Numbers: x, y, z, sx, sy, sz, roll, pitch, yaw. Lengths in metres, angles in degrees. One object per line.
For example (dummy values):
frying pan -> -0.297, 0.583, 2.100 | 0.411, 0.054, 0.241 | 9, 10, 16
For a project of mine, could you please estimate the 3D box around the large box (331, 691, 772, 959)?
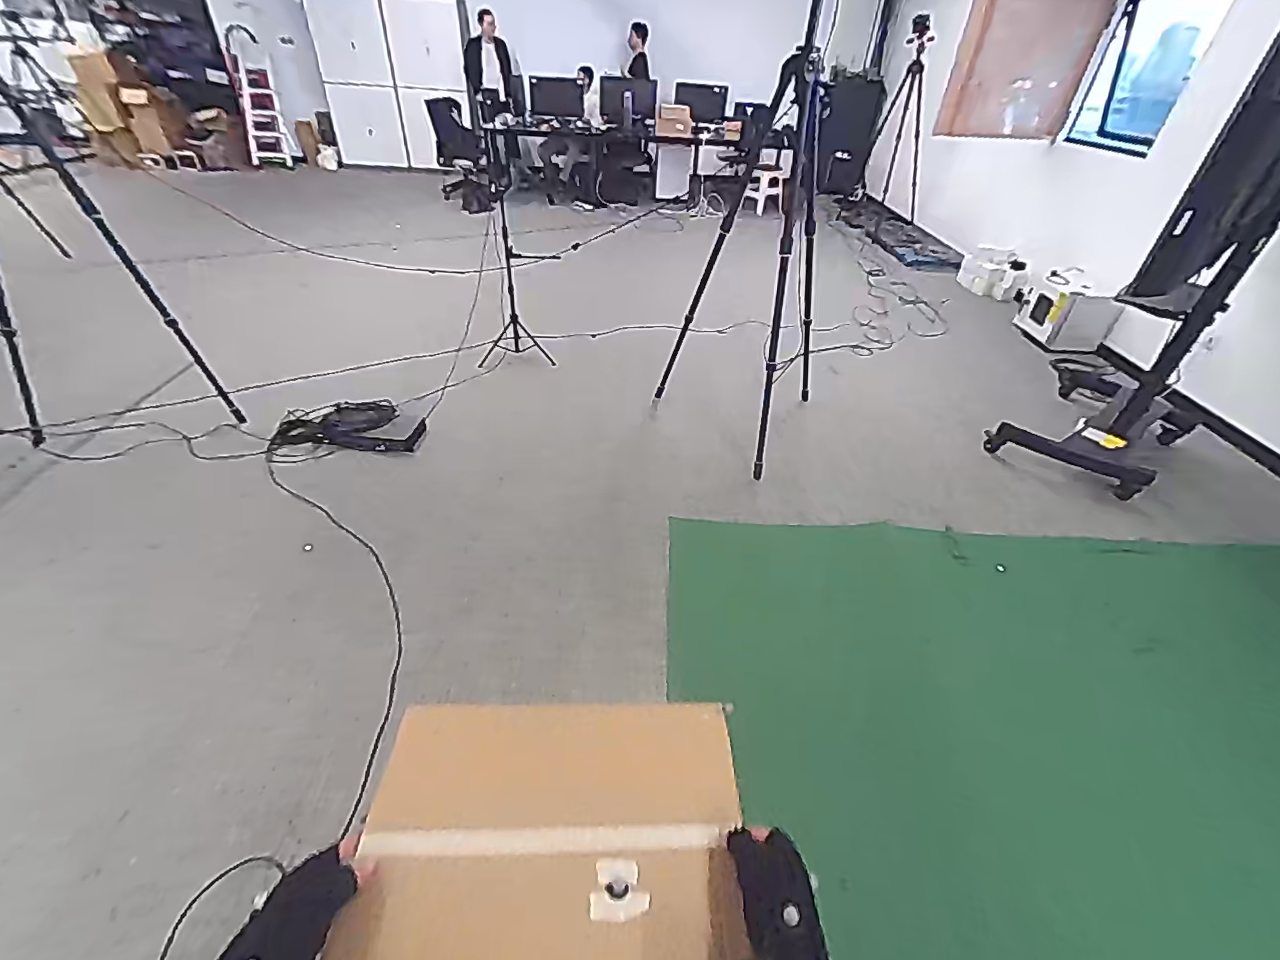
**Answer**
large box -> -0.090, 0.487, 0.665 | 0.408, 0.320, 0.320 | 1, 37, -3
